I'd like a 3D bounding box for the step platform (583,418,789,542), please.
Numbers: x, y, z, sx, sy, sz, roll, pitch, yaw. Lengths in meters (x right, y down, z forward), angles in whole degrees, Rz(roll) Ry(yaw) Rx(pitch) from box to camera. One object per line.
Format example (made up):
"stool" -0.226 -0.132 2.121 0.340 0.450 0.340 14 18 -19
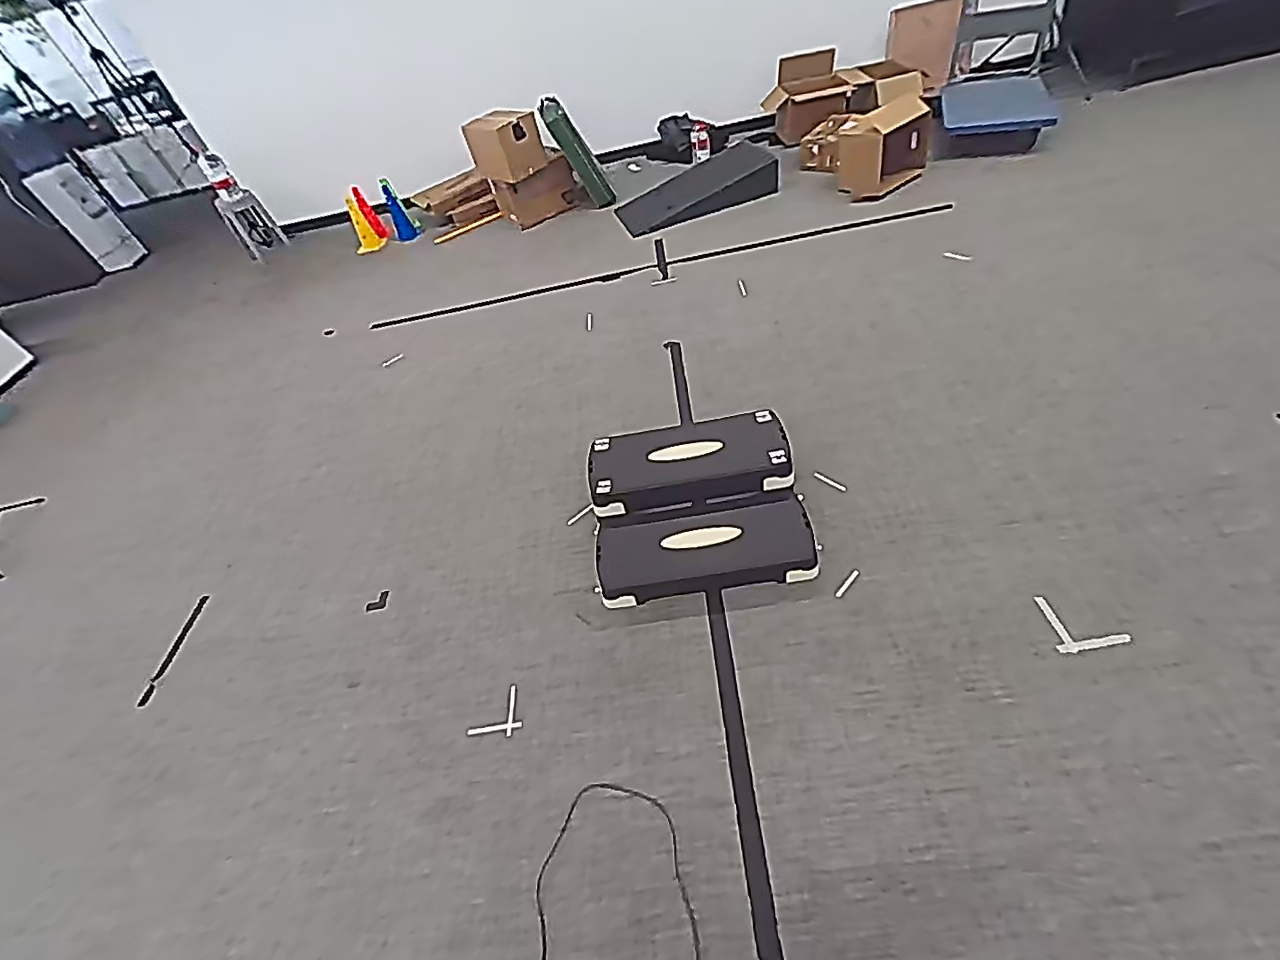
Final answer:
"step platform" 0.148 -0.004 1.837 0.684 0.204 0.286 -10 47 4
